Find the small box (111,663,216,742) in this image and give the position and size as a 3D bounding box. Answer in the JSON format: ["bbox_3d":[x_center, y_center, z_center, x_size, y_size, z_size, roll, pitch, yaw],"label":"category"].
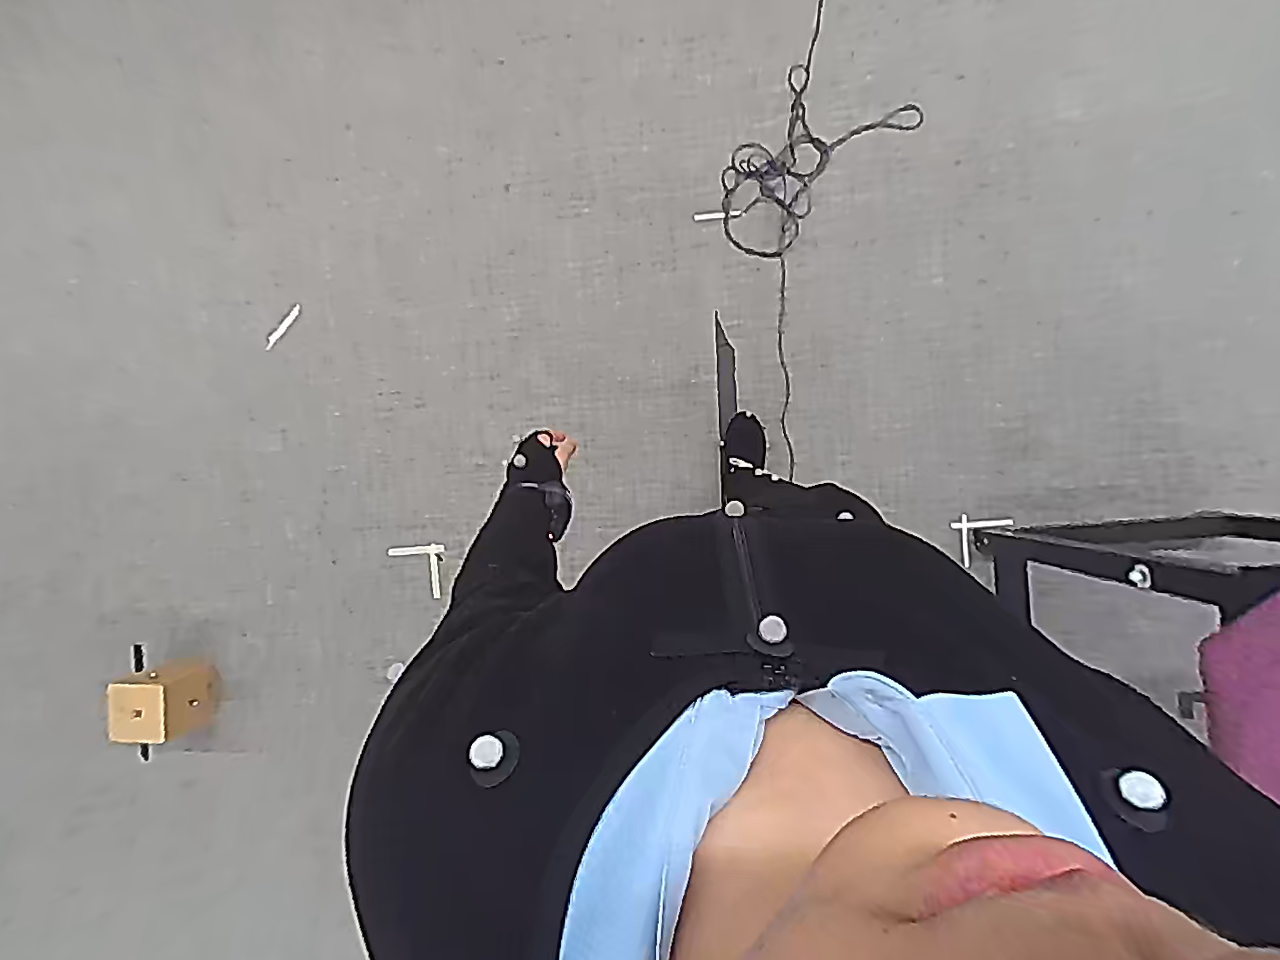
[{"bbox_3d":[-1.389,0.646,1.588,0.179,0.176,0.168,0,90,7],"label":"small box"}]
